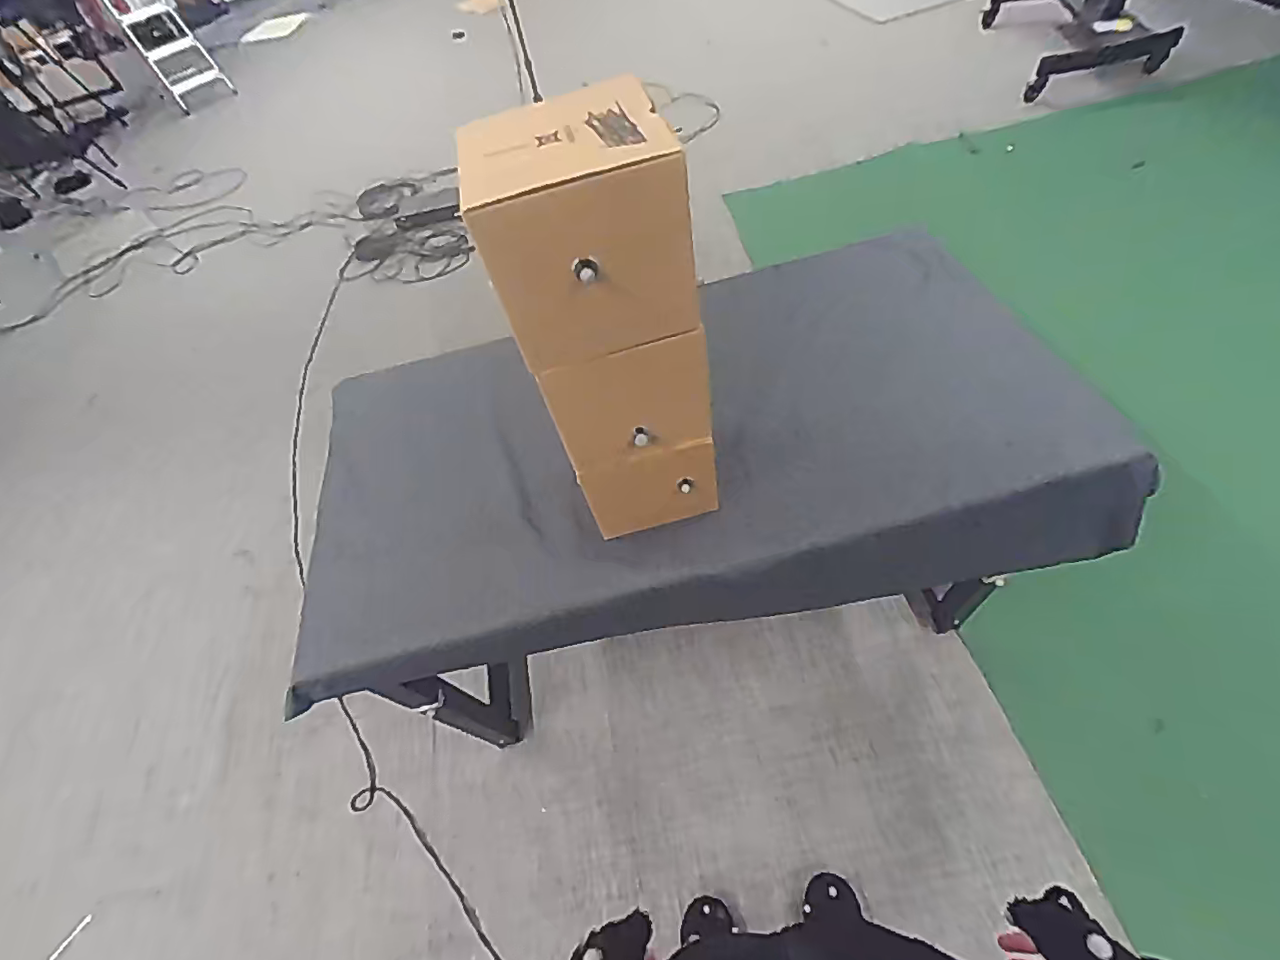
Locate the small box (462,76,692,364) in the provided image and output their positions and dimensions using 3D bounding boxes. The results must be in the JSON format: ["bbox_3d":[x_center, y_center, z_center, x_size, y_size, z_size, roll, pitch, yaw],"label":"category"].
[{"bbox_3d":[-0.052,-0.240,0.517,0.179,0.176,0.168,-16,54,0],"label":"small box"}]

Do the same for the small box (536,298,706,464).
[{"bbox_3d":[-0.025,-0.145,0.649,0.179,0.176,0.168,-15,53,-1],"label":"small box"}]

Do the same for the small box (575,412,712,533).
[{"bbox_3d":[0.001,-0.048,0.778,0.179,0.176,0.168,-16,53,0],"label":"small box"}]
